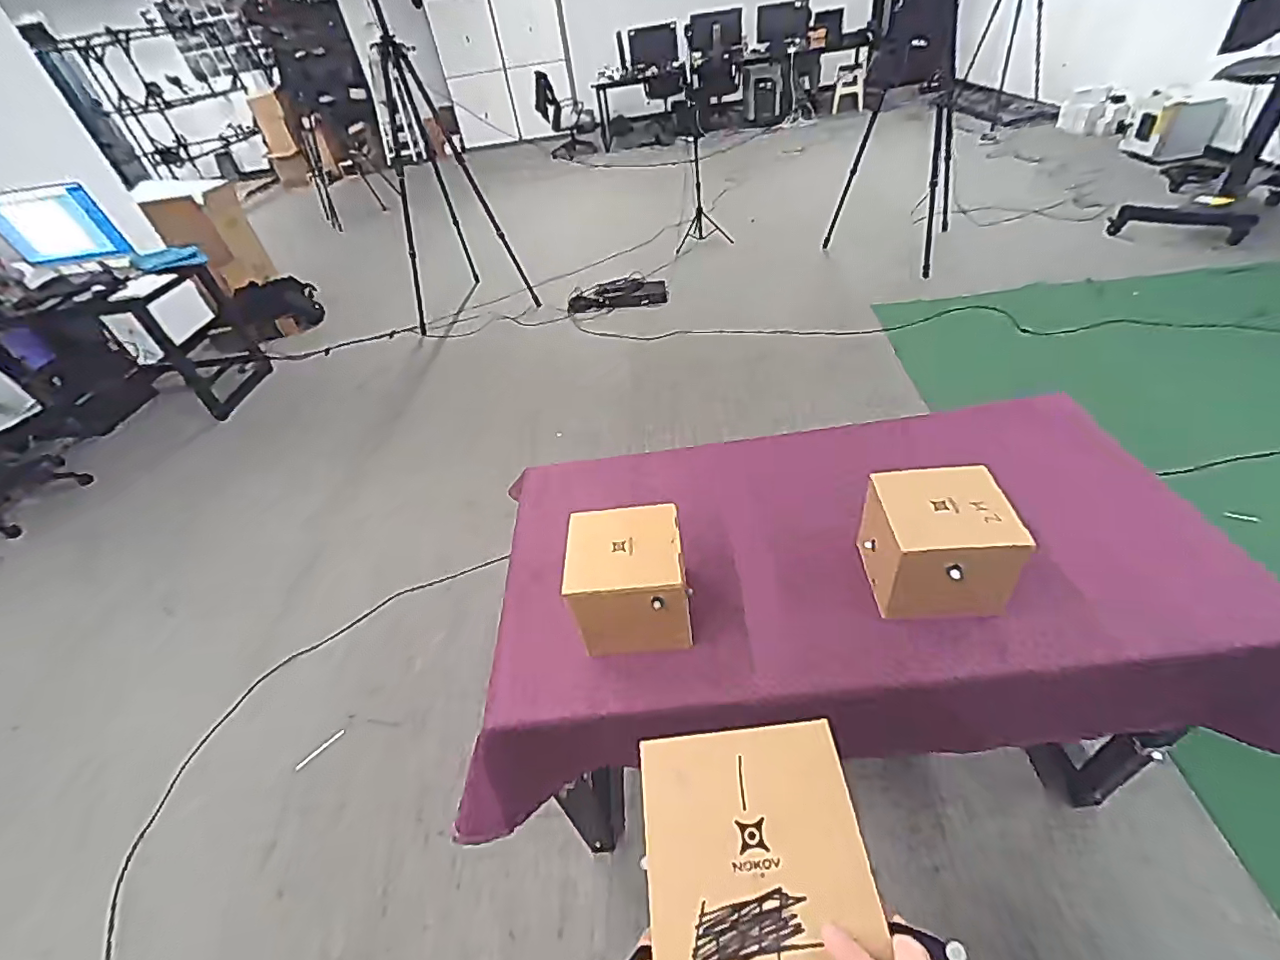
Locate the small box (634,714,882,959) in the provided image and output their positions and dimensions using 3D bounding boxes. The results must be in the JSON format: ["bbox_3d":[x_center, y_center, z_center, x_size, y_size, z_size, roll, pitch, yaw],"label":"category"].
[{"bbox_3d":[0.093,0.331,0.475,0.168,0.176,0.179,-9,46,5],"label":"small box"}]

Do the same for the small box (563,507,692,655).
[{"bbox_3d":[-0.014,0.168,0.877,0.179,0.176,0.168,-7,41,5],"label":"small box"}]

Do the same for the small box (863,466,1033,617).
[{"bbox_3d":[0.458,0.099,0.842,0.179,0.176,0.168,-4,42,8],"label":"small box"}]
